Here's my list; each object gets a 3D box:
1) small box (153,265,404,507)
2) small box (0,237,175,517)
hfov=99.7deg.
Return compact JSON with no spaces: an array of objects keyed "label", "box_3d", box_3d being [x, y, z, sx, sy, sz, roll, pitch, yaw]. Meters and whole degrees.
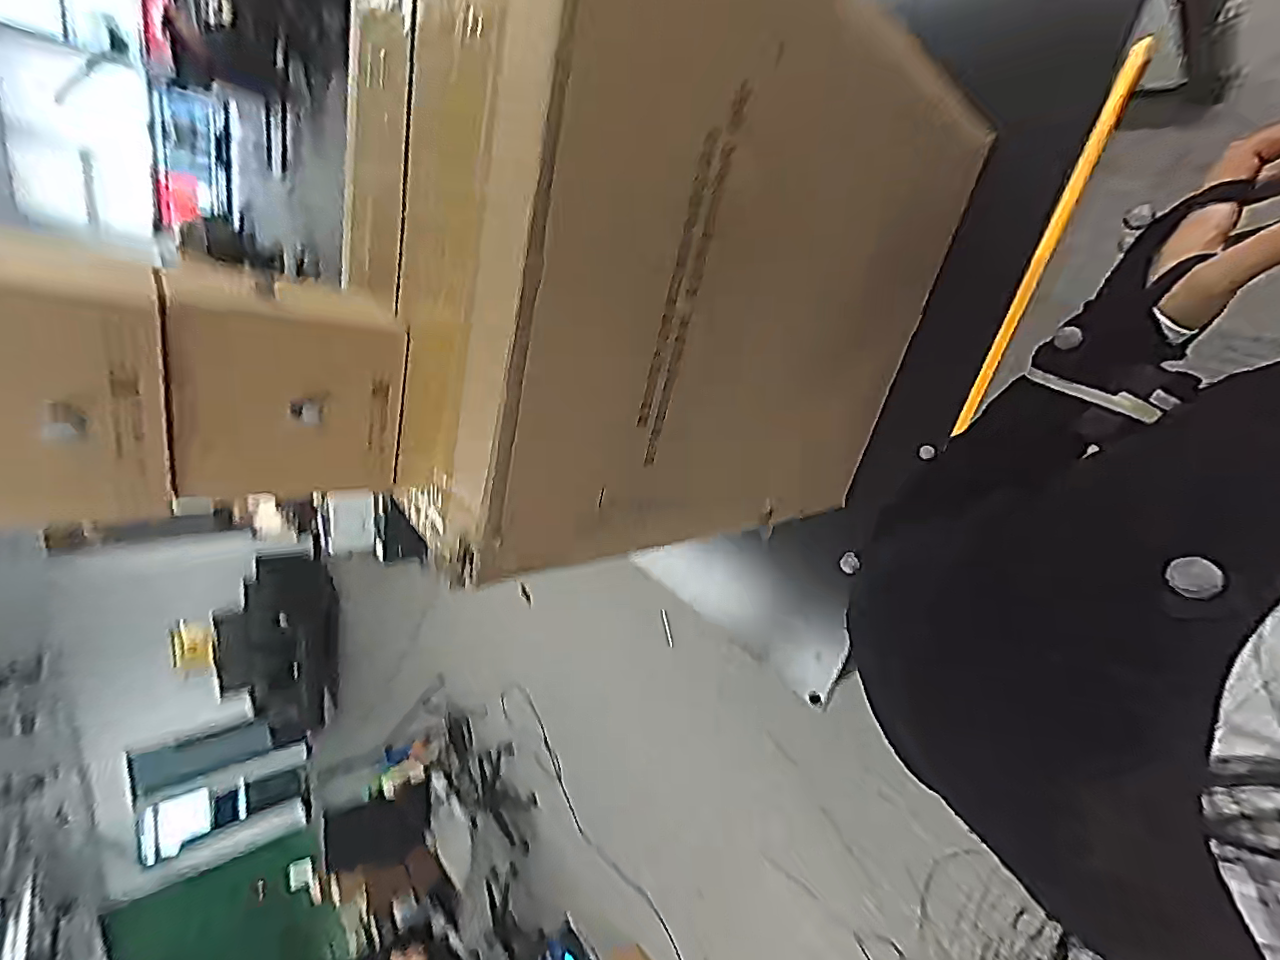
[{"label":"small box","box_3d":[-0.339,-0.091,0.513,0.179,0.176,0.168,33,117,41]},{"label":"small box","box_3d":[-0.451,-0.077,0.391,0.179,0.176,0.168,34,118,41]}]
